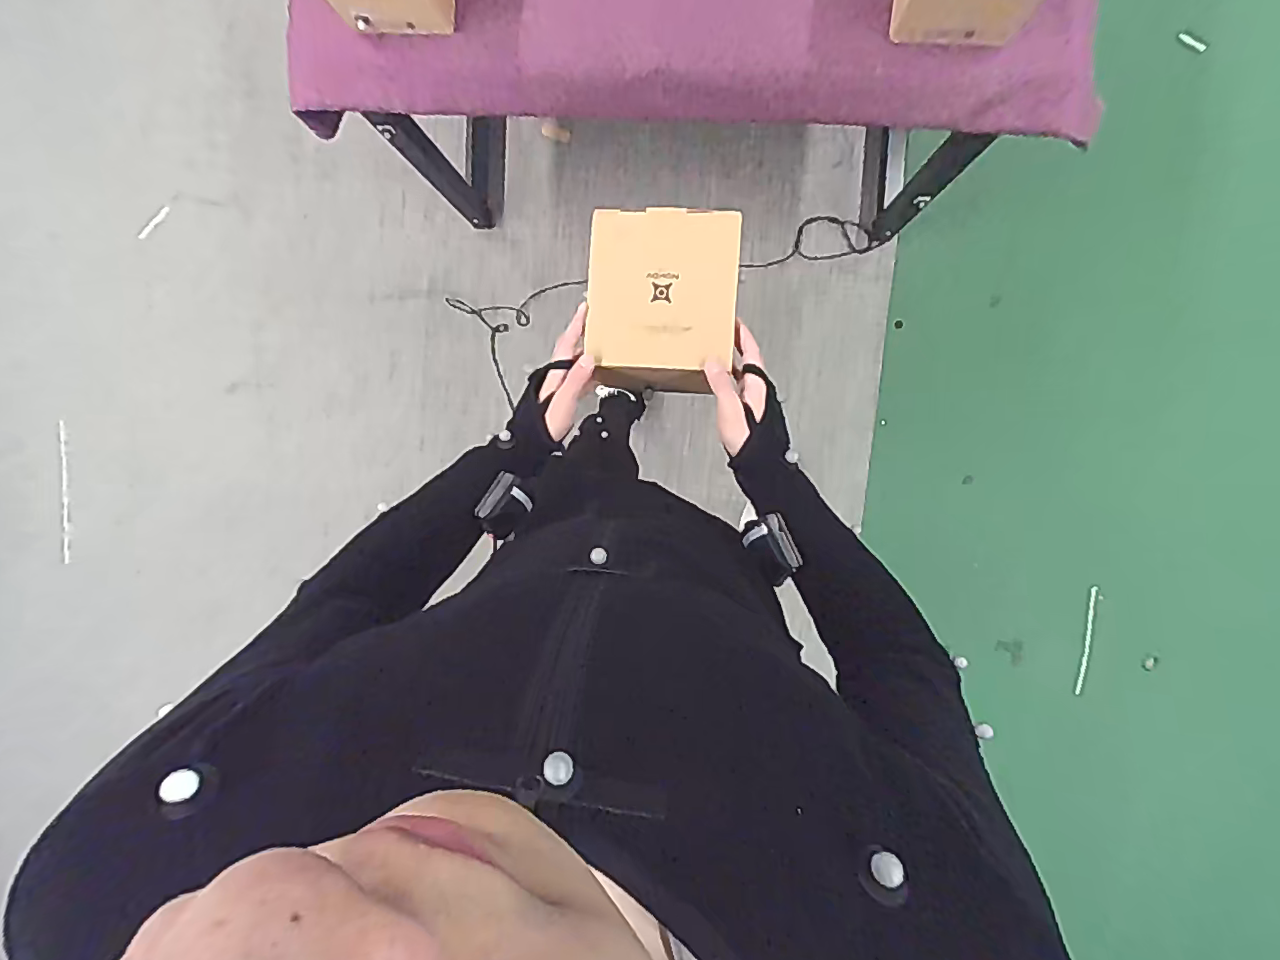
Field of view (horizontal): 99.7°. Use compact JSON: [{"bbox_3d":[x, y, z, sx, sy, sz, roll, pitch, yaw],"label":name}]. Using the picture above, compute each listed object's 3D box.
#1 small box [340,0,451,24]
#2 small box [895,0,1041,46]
[{"bbox_3d":[-0.365,-0.777,0.743,0.168,0.176,0.179,5,94,3],"label":"small box"},{"bbox_3d":[0.448,-0.712,0.692,0.168,0.176,0.179,6,93,5],"label":"small box"}]
